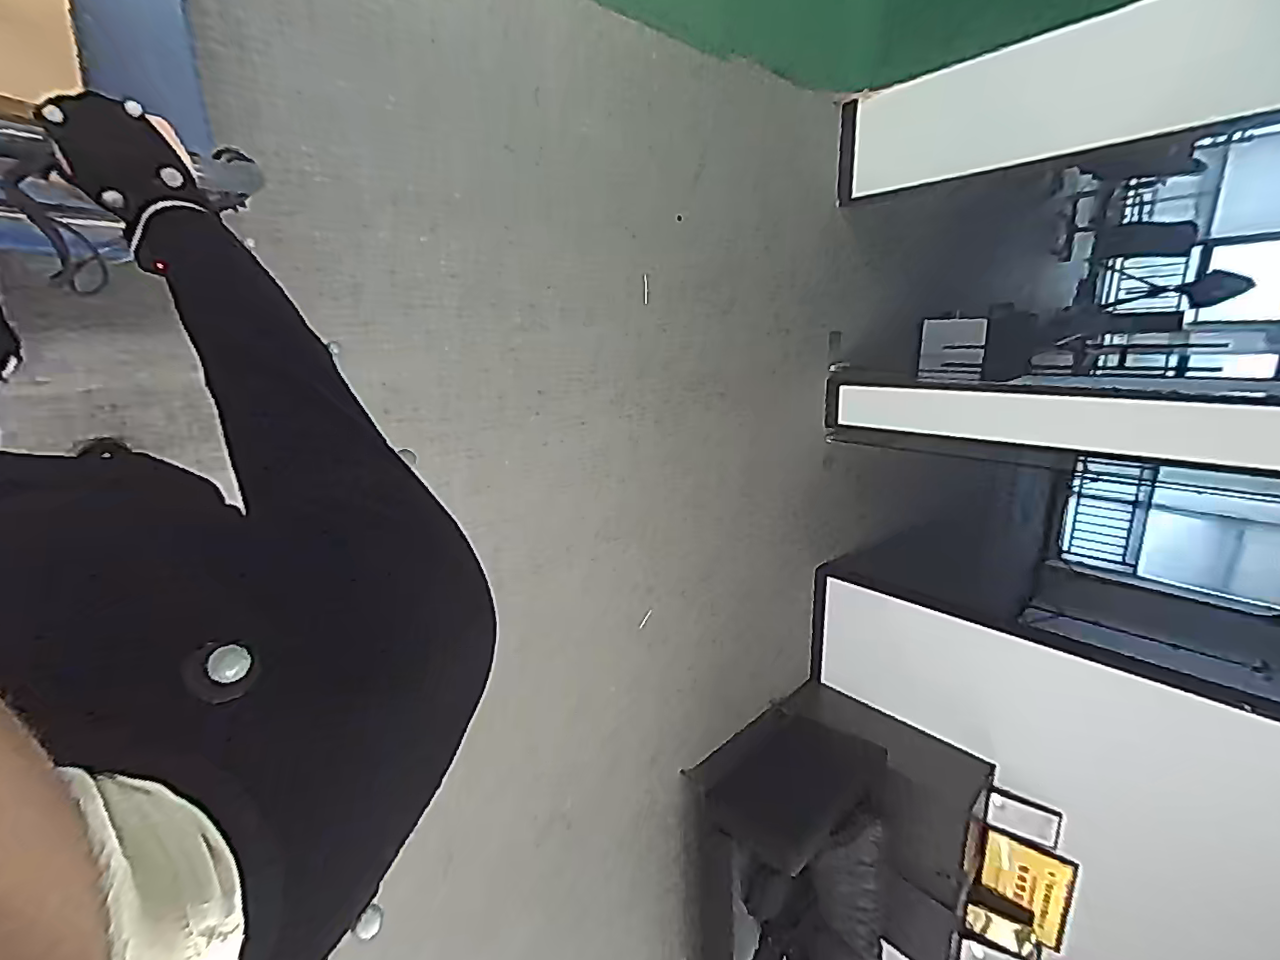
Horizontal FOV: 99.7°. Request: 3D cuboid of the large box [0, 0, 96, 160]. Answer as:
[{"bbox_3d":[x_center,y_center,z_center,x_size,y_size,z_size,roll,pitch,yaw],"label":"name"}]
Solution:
[{"bbox_3d":[-0.976,-0.709,0.710,0.320,0.320,0.408,-10,106,-42],"label":"large box"}]
